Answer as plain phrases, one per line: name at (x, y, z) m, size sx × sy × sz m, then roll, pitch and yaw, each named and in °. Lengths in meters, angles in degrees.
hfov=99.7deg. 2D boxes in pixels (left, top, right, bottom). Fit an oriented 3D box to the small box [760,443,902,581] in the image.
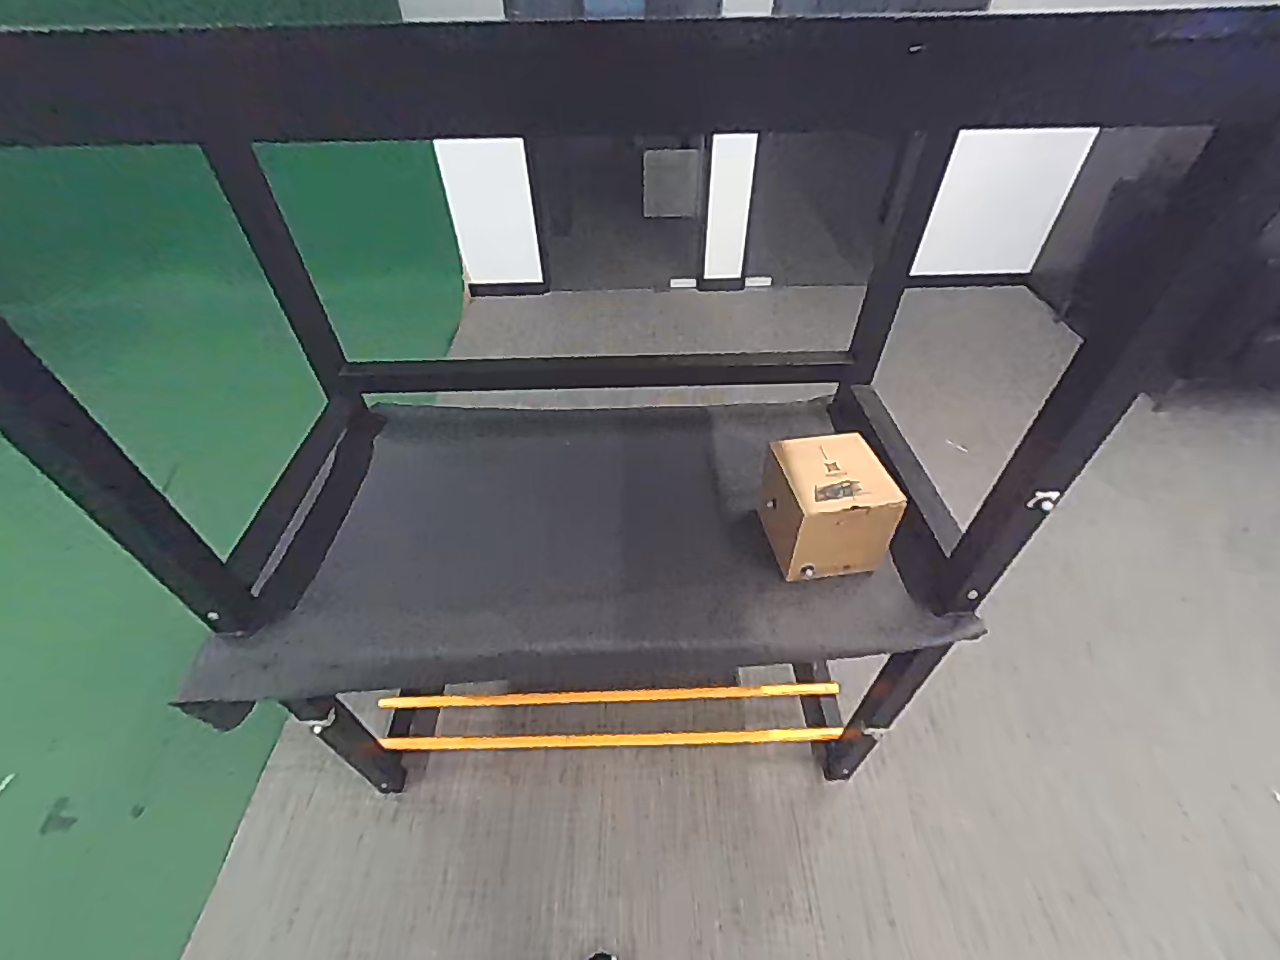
small box at (0.315, 0.060, 0.933) m, size 0.168 × 0.176 × 0.179 m, roll -5°, pitch 42°, yaw -4°
